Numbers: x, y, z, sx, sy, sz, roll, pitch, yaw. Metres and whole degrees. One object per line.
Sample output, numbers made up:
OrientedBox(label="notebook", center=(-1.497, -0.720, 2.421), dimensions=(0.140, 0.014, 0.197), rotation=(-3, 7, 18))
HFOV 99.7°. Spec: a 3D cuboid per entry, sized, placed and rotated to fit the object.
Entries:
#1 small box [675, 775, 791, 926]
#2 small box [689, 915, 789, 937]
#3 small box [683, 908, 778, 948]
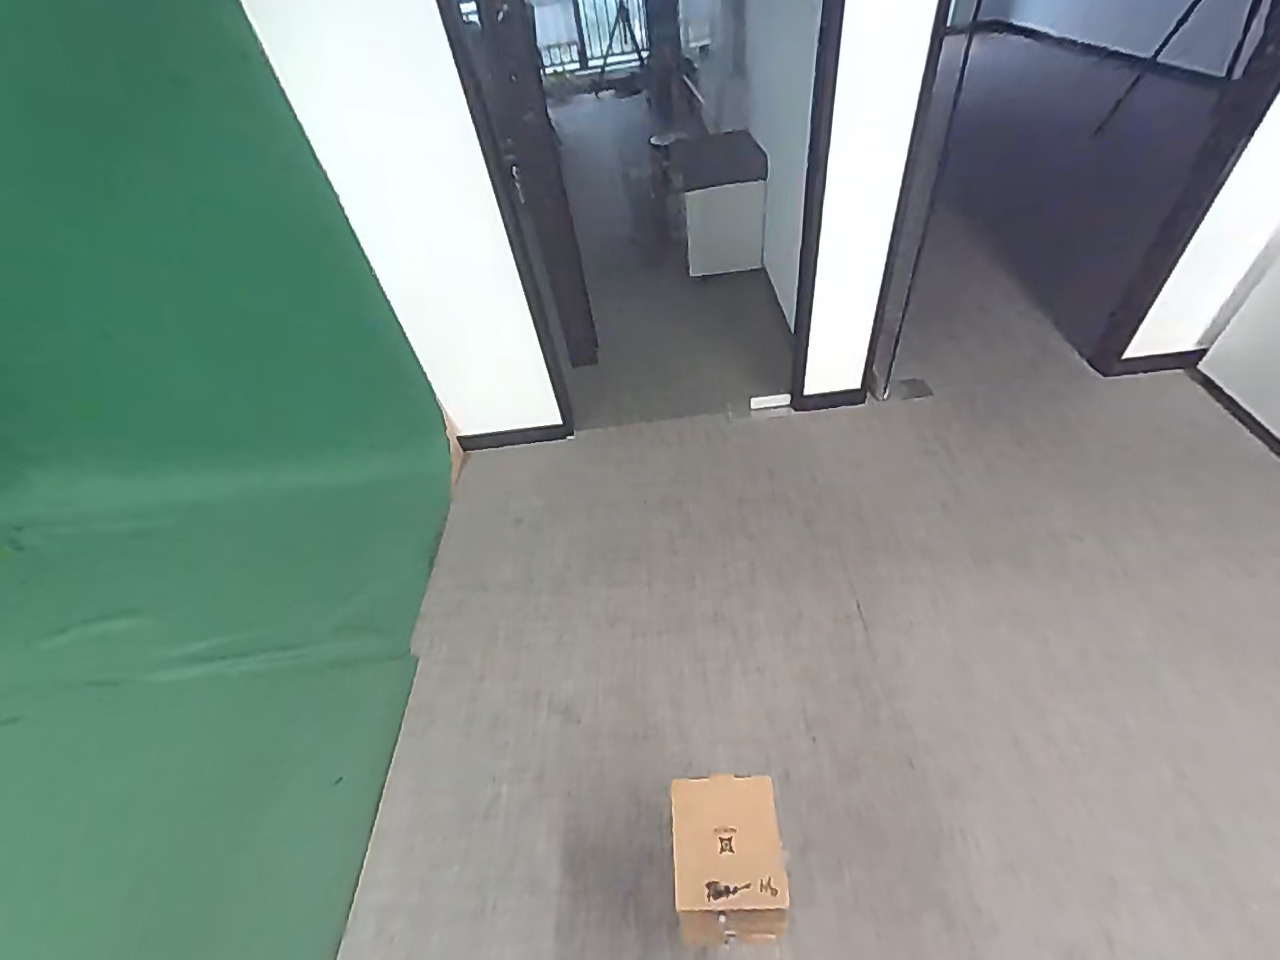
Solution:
OrientedBox(label="small box", center=(0.146, 0.608, 0.887), dimensions=(0.168, 0.176, 0.179), rotation=(-6, 44, 6))
OrientedBox(label="small box", center=(0.174, 0.724, 1.000), dimensions=(0.168, 0.176, 0.179), rotation=(-6, 46, 6))
OrientedBox(label="small box", center=(0.180, 0.844, 1.108), dimensions=(0.179, 0.176, 0.168), rotation=(-5, 45, 7))
